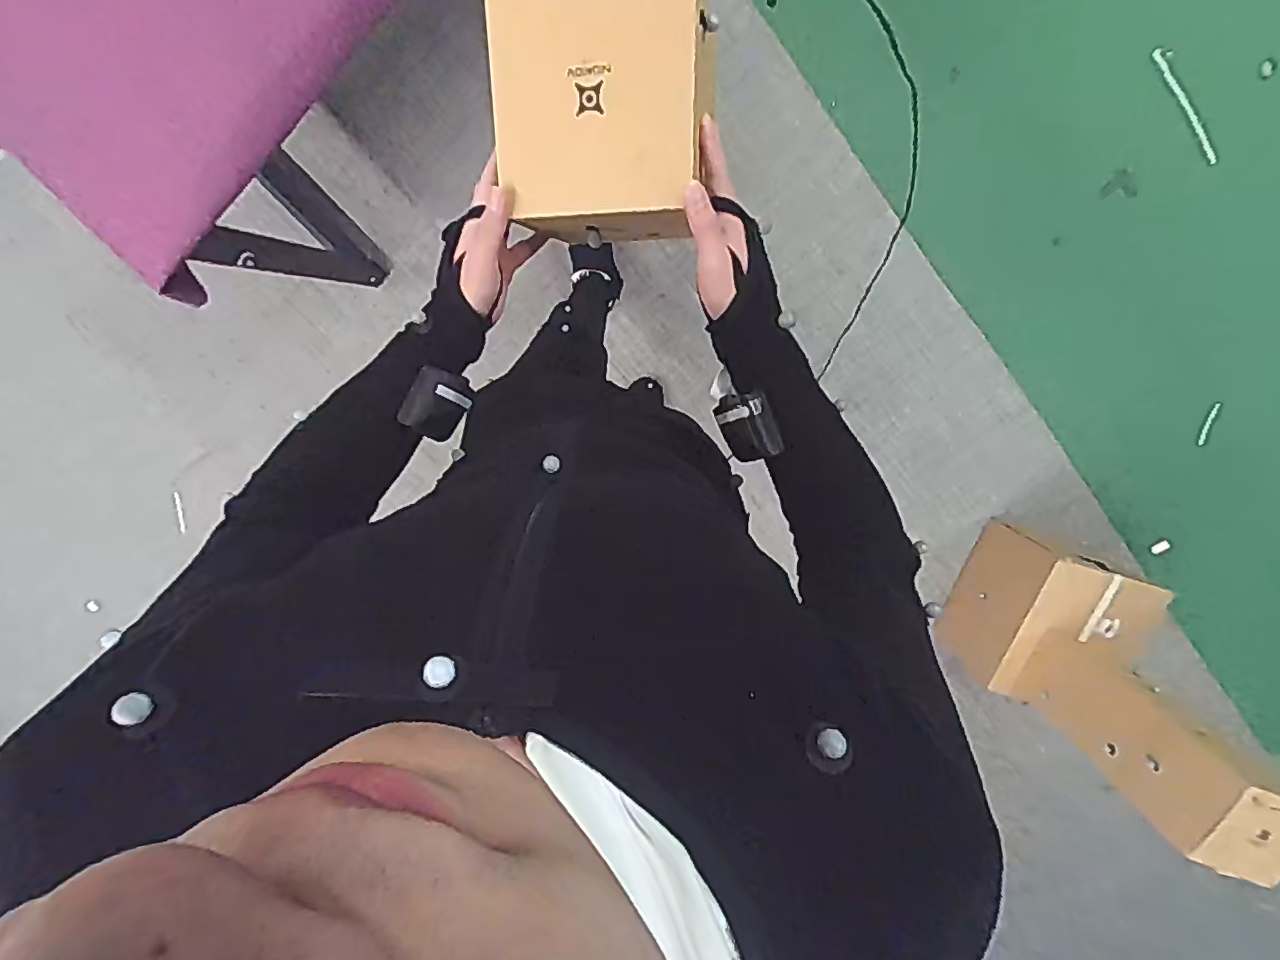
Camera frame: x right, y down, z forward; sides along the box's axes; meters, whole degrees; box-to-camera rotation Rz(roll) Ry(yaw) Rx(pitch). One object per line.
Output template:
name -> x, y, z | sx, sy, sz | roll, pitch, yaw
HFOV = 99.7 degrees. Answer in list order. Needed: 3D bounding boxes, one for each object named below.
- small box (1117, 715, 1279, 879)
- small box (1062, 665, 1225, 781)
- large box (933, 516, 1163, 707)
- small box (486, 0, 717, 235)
small box -> 1.057, 0.582, 1.008 | 0.168, 0.176, 0.179 | 21, 107, -3
small box -> 1.069, 0.538, 1.166 | 0.168, 0.176, 0.179 | 20, 106, -3
large box -> 1.121, 0.367, 1.542 | 0.320, 0.320, 0.408 | 16, 105, -3
small box -> -0.021, -0.327, 0.492 | 0.168, 0.176, 0.179 | 3, 106, 13
